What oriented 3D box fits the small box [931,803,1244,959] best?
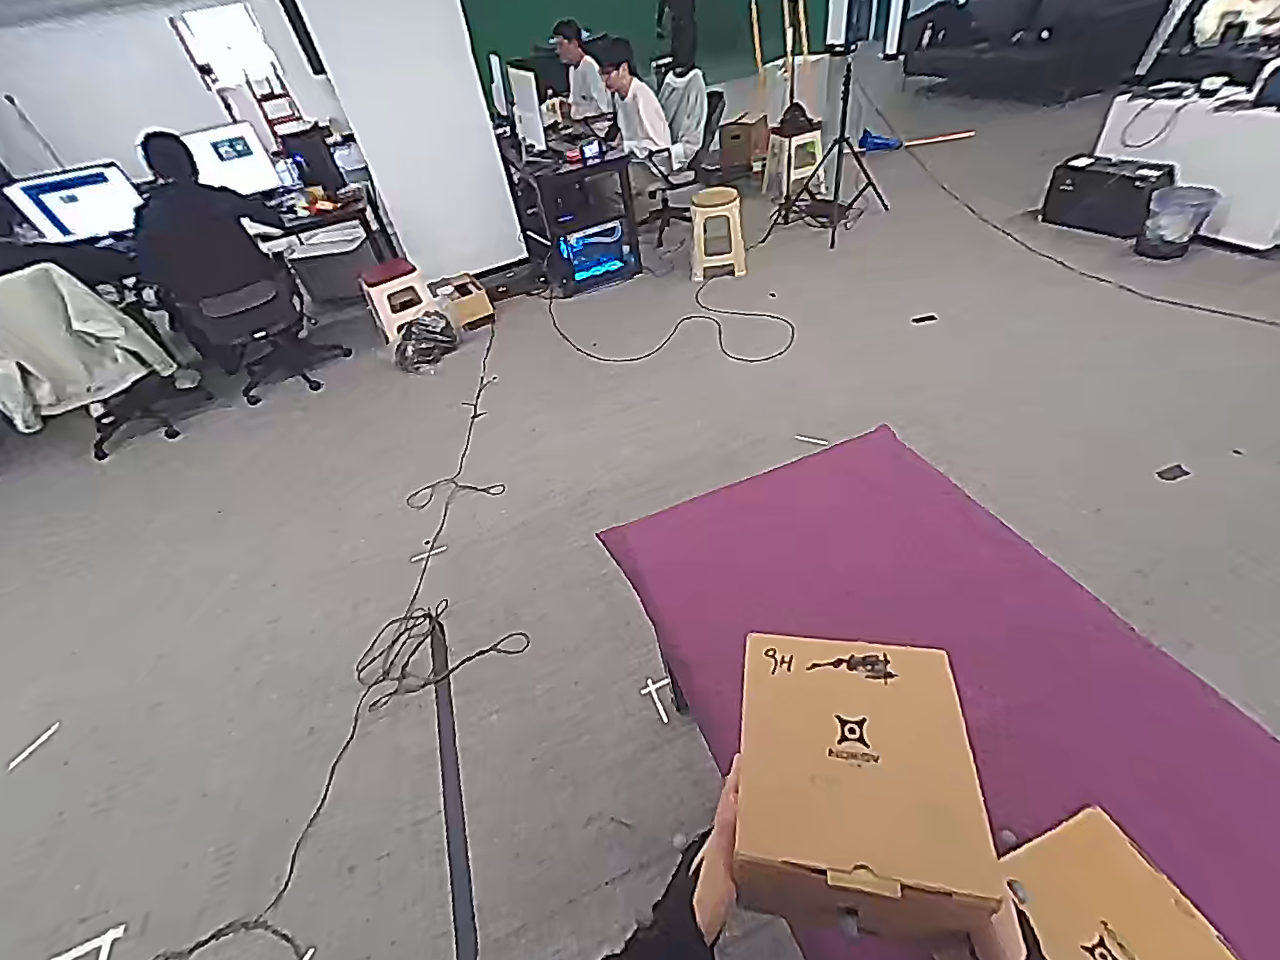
[{"bbox_3d":[0.395,0.442,0.497,0.179,0.176,0.168,-20,43,-10],"label":"small box"}]

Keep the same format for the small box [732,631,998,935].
[{"bbox_3d":[0.170,0.256,0.462,0.168,0.176,0.179,2,44,13],"label":"small box"}]
